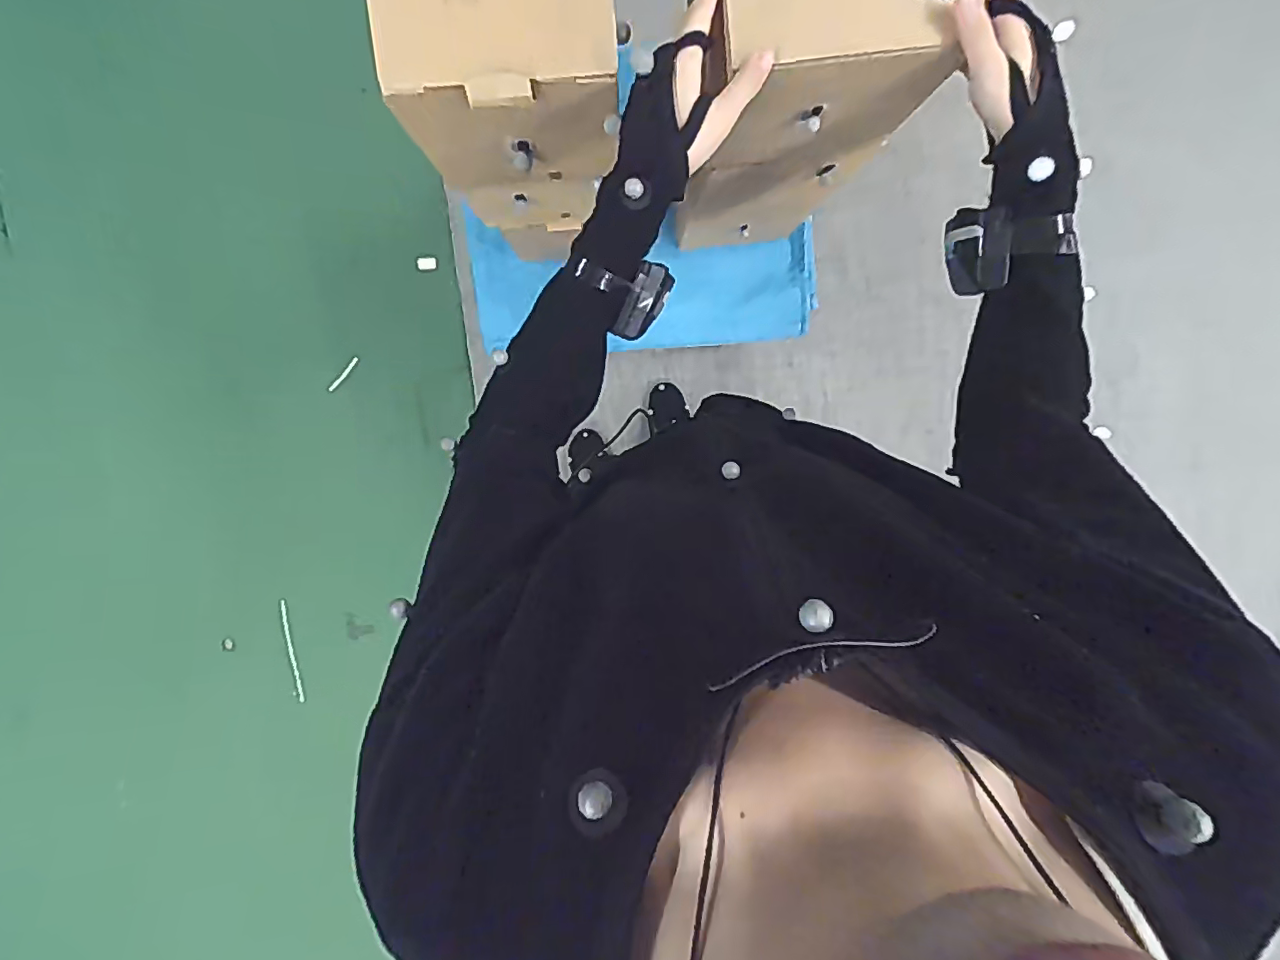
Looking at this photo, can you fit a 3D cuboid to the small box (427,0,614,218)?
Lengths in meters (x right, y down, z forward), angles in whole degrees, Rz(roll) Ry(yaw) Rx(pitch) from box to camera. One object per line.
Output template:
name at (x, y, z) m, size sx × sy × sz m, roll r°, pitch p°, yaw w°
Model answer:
small box at (-0.115, -0.399, 0.589) m, size 0.168 × 0.176 × 0.179 m, roll -3°, pitch 97°, yaw -2°

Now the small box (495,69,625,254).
small box at (-0.108, -0.423, 0.749) m, size 0.168 × 0.176 × 0.179 m, roll -4°, pitch 98°, yaw -1°

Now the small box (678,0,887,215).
small box at (0.142, -0.407, 0.587) m, size 0.179 × 0.176 × 0.168 m, roll -7°, pitch 99°, yaw 0°
